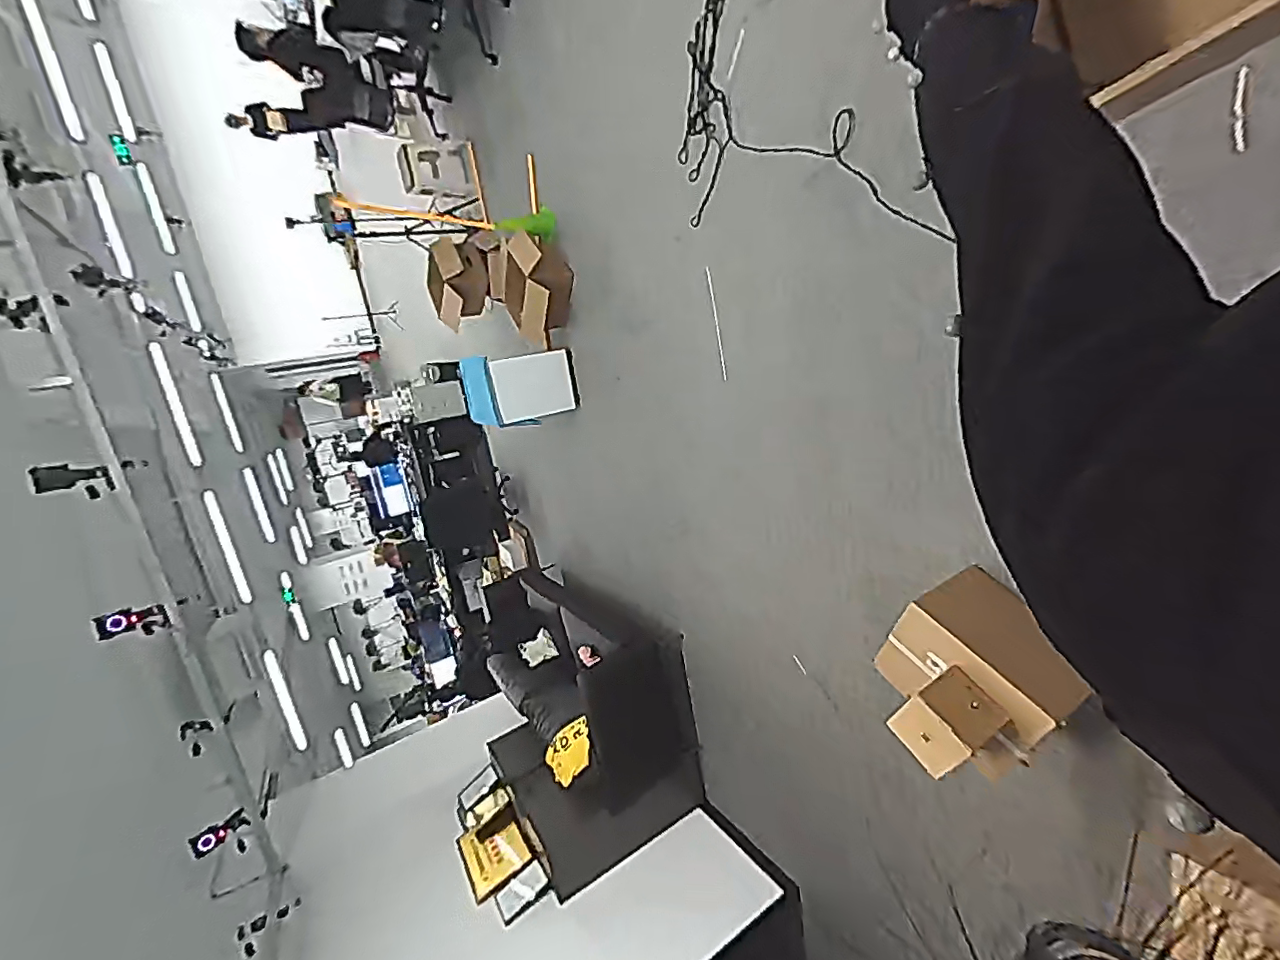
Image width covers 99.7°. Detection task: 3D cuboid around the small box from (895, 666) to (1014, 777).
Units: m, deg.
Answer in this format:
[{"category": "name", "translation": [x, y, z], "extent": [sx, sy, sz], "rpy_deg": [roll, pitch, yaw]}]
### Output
[{"category": "small box", "translation": [0.802, 0.613, 1.379], "extent": [0.168, 0.176, 0.179], "rpy_deg": [50, 146, 36]}]

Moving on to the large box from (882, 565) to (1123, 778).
[{"category": "large box", "translation": [0.986, 0.516, 1.514], "extent": [0.408, 0.320, 0.320], "rpy_deg": [48, 144, 40]}]
